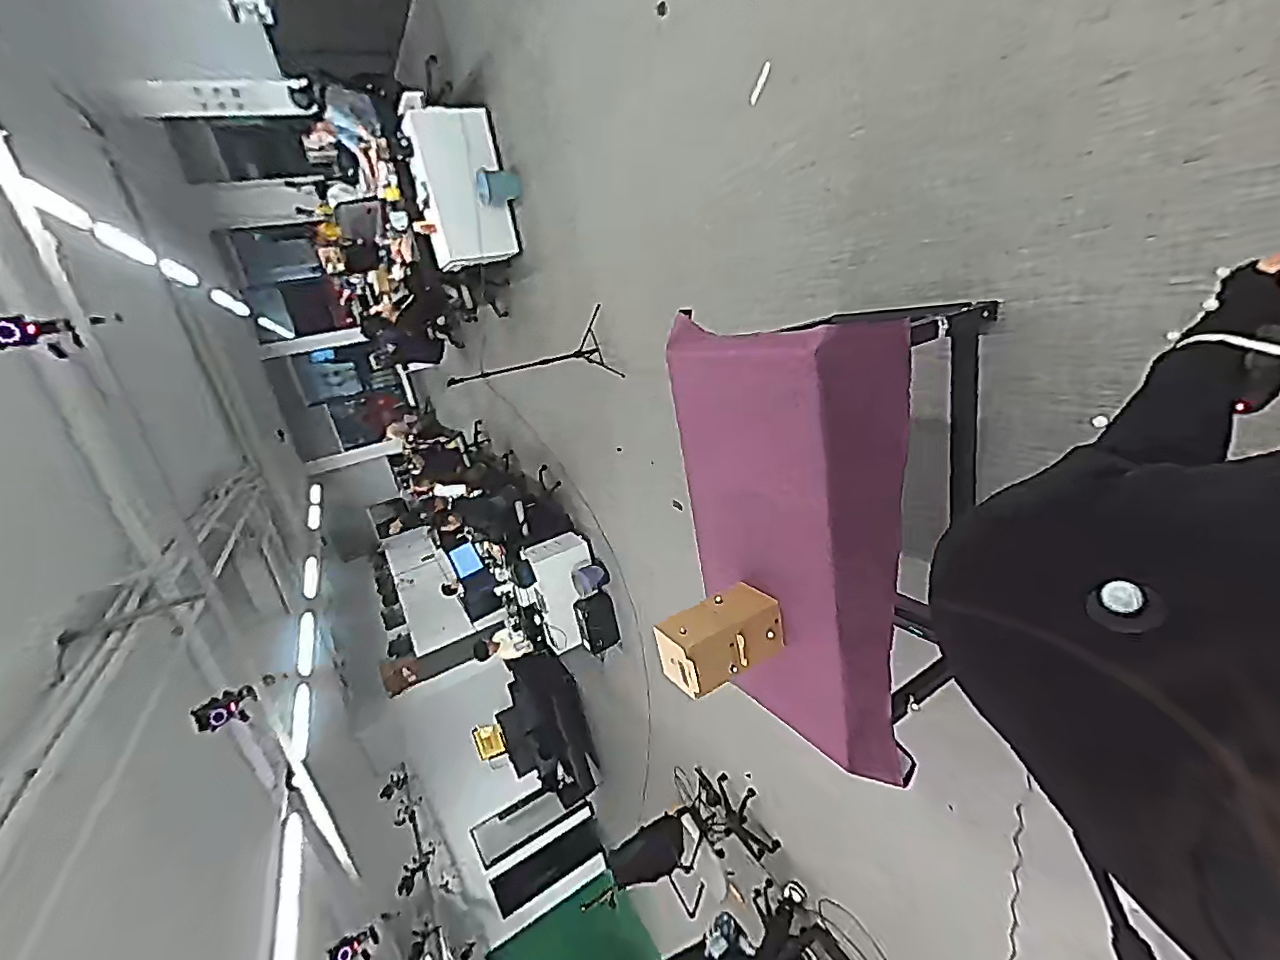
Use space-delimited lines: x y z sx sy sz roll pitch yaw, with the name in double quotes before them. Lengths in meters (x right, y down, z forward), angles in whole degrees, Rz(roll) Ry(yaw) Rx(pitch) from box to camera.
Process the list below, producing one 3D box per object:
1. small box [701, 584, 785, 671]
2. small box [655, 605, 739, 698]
"small box" 0.311 0.433 1.629 0.179 0.176 0.168 21 127 58
"small box" 0.171 0.485 1.561 0.179 0.176 0.168 16 122 61
